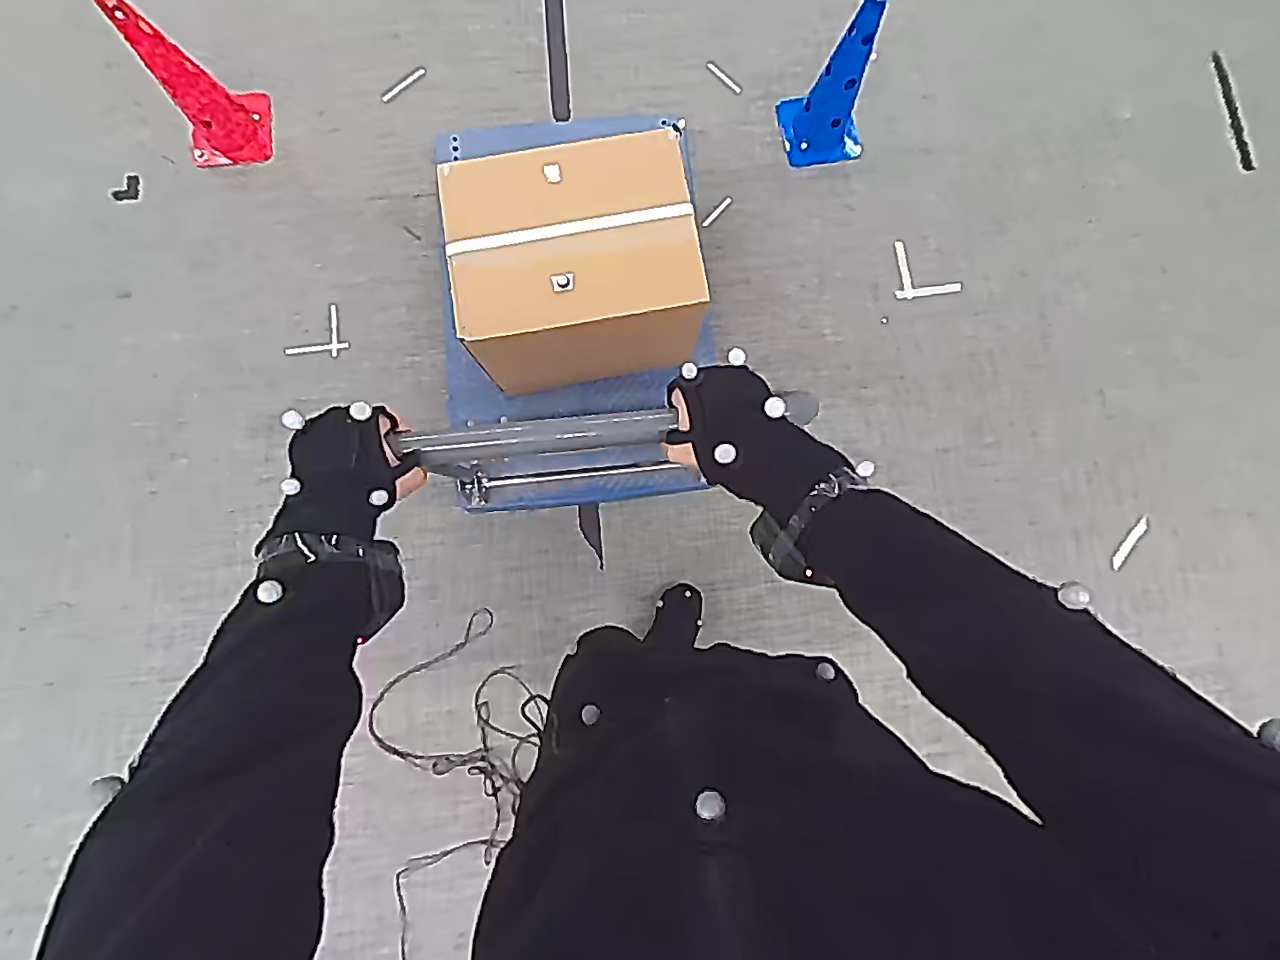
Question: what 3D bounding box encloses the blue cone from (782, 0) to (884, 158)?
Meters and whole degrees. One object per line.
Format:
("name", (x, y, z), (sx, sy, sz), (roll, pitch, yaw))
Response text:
("blue cone", (0.487, -0.970, 1.275), (0.193, 0.380, 0.192), (-9, 82, -3))
